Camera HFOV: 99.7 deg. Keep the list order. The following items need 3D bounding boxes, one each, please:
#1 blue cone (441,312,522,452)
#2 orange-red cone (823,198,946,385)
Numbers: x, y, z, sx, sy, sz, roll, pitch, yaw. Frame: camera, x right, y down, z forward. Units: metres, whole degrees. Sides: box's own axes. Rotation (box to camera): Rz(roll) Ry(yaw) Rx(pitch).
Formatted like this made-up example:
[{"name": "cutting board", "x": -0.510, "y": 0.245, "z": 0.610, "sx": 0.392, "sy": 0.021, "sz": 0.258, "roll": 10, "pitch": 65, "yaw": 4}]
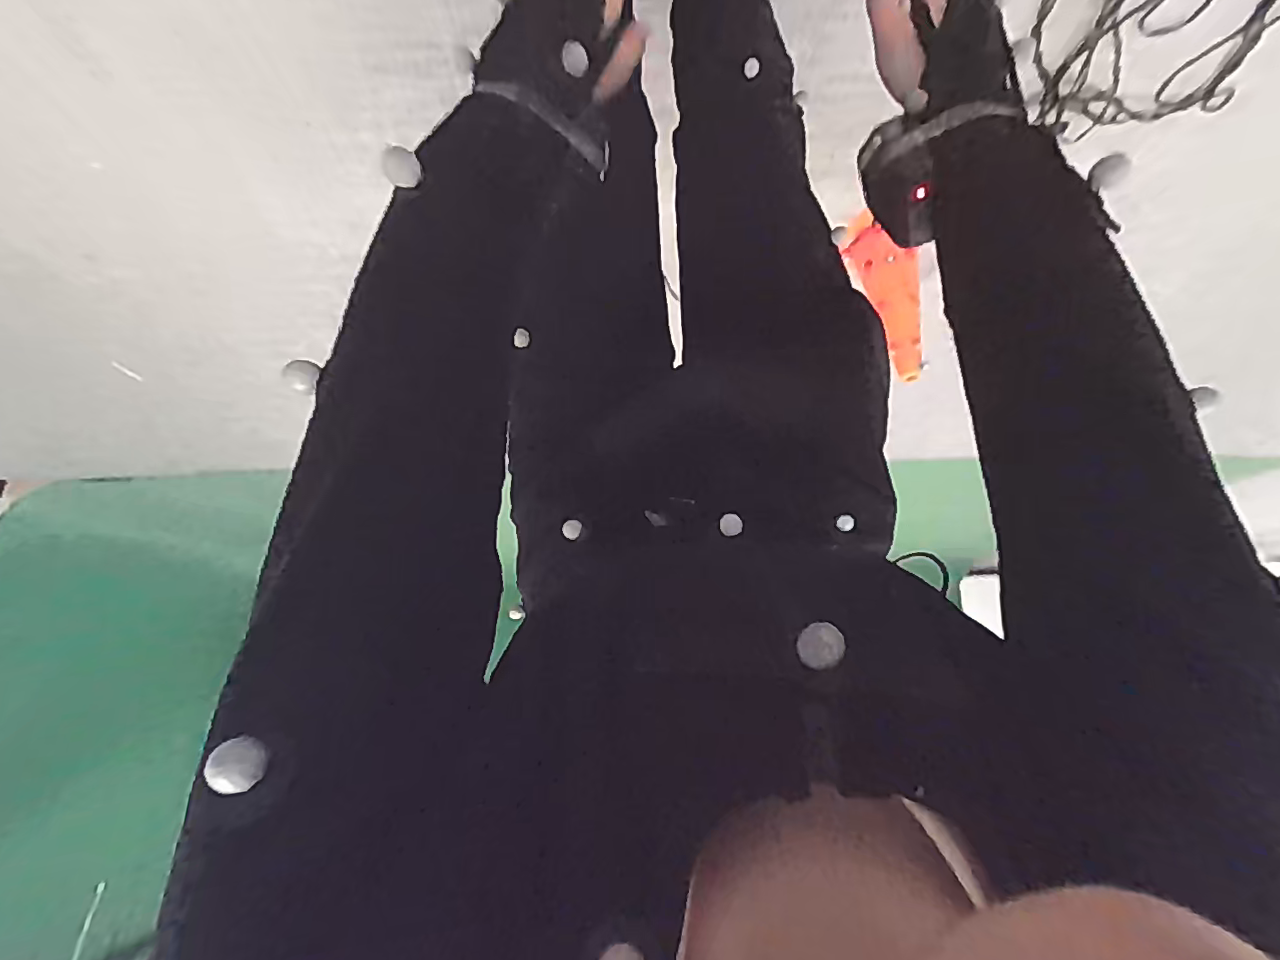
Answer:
[{"name": "blue cone", "x": -0.434, "y": -0.253, "z": 1.450, "sx": 0.192, "sy": 0.380, "sz": 0.193, "roll": 0, "pitch": 160, "yaw": -1}, {"name": "orange-red cone", "x": 0.539, "y": -0.367, "z": 1.135, "sx": 0.199, "sy": 0.360, "sz": 0.198, "roll": 5, "pitch": 160, "yaw": -20}]
